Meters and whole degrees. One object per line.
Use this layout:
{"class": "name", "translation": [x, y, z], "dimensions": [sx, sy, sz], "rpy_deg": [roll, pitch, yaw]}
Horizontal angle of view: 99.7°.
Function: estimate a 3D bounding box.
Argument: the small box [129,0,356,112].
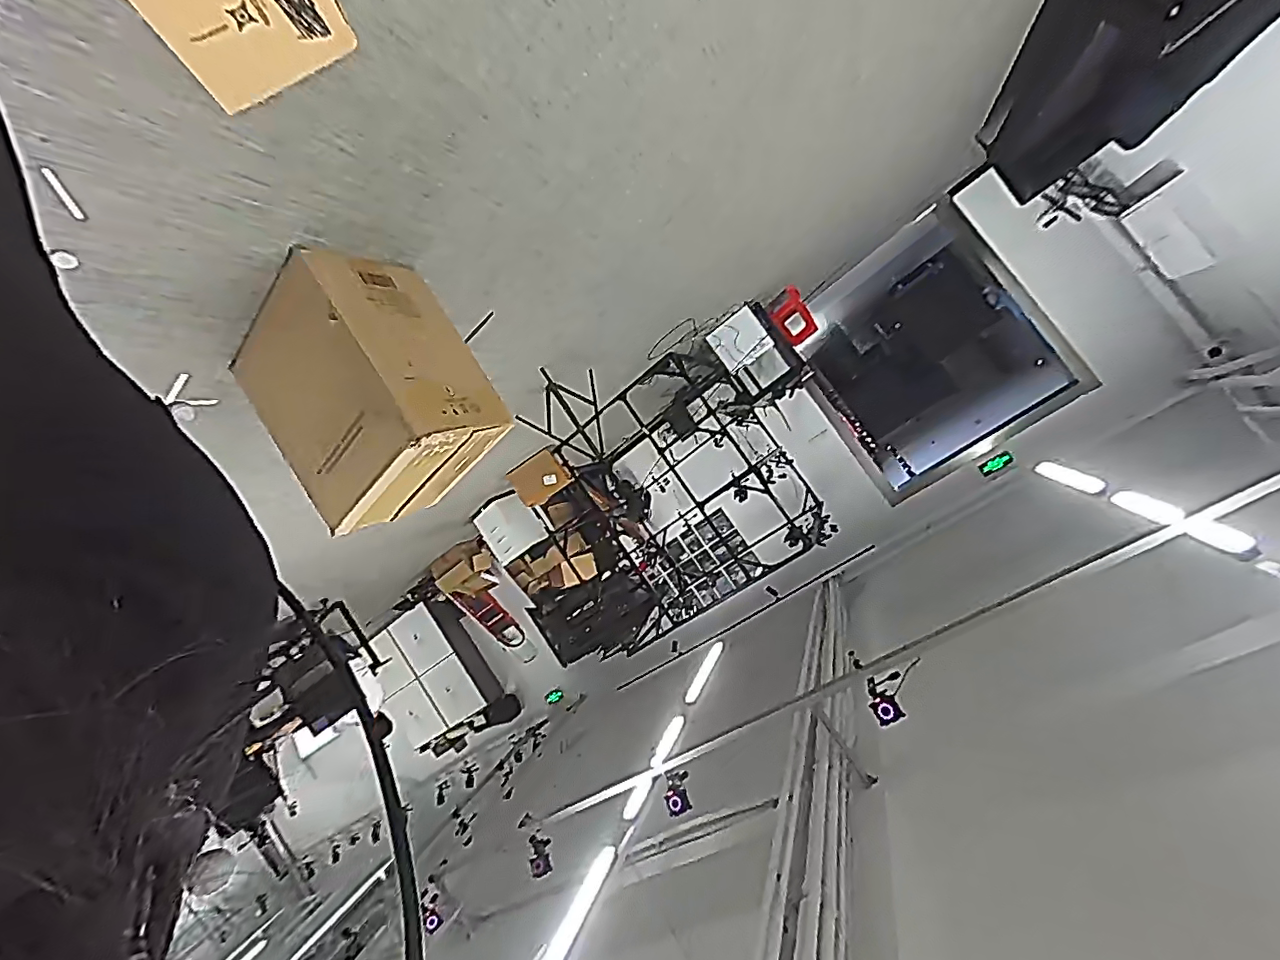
{"class": "small box", "translation": [-0.446, -0.546, 0.559], "dimensions": [0.179, 0.176, 0.168], "rpy_deg": [-33, 175, -8]}
